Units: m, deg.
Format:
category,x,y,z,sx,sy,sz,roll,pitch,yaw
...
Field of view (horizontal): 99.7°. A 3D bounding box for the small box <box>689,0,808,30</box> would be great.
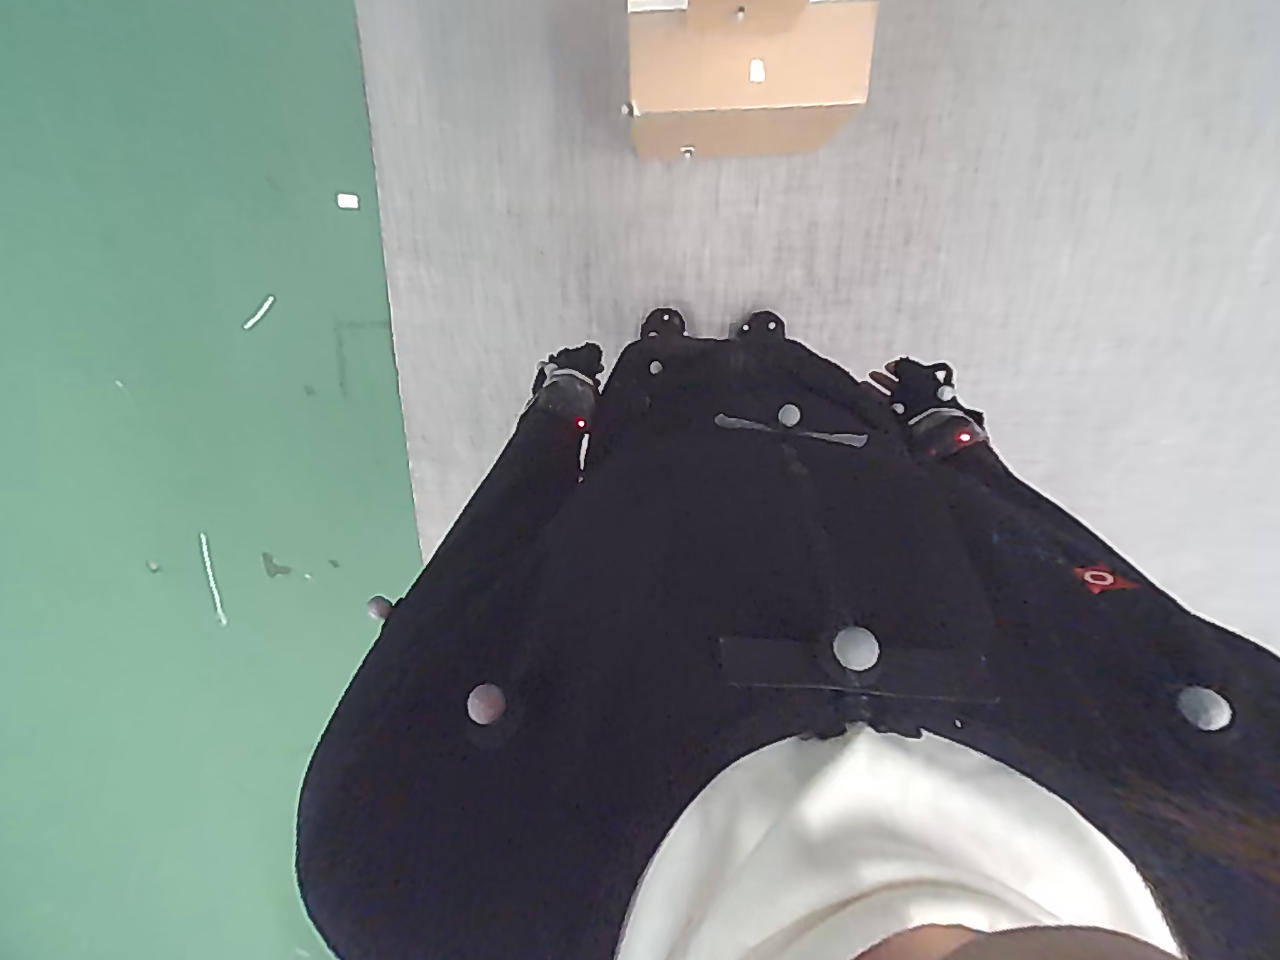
category,x,y,z,sx,sy,sz,roll,pitch,yaw
small box,0.165,-0.785,0.786,0.179,0.176,0.168,0,115,3
